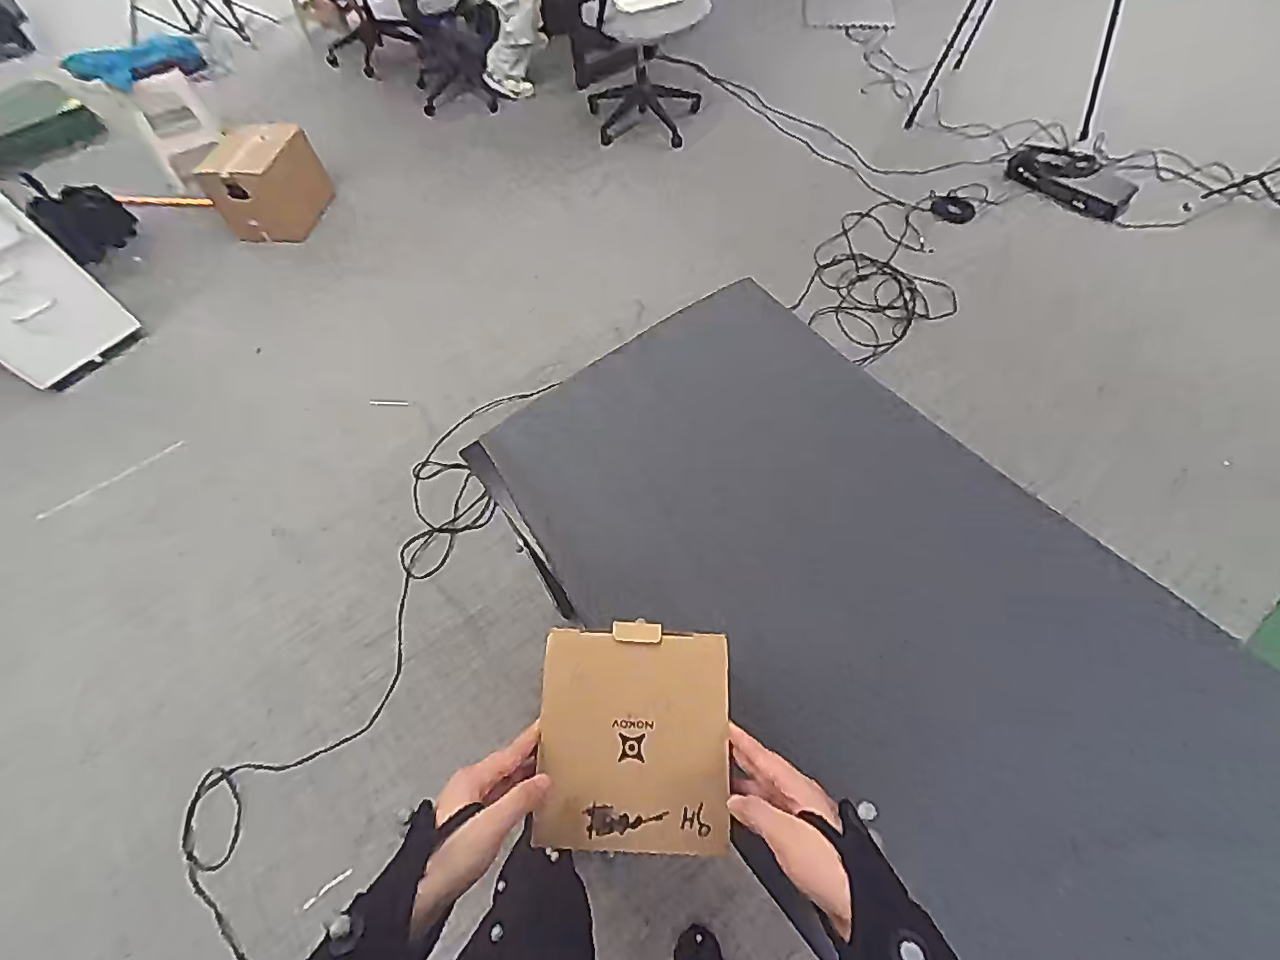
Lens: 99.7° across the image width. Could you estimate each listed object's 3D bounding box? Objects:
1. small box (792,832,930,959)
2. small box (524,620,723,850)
[{"bbox_3d":[0.416,0.824,1.051,0.179,0.176,0.168,-40,64,-20],"label":"small box"},{"bbox_3d":[-0.009,0.240,0.543,0.168,0.176,0.179,2,72,3],"label":"small box"}]
